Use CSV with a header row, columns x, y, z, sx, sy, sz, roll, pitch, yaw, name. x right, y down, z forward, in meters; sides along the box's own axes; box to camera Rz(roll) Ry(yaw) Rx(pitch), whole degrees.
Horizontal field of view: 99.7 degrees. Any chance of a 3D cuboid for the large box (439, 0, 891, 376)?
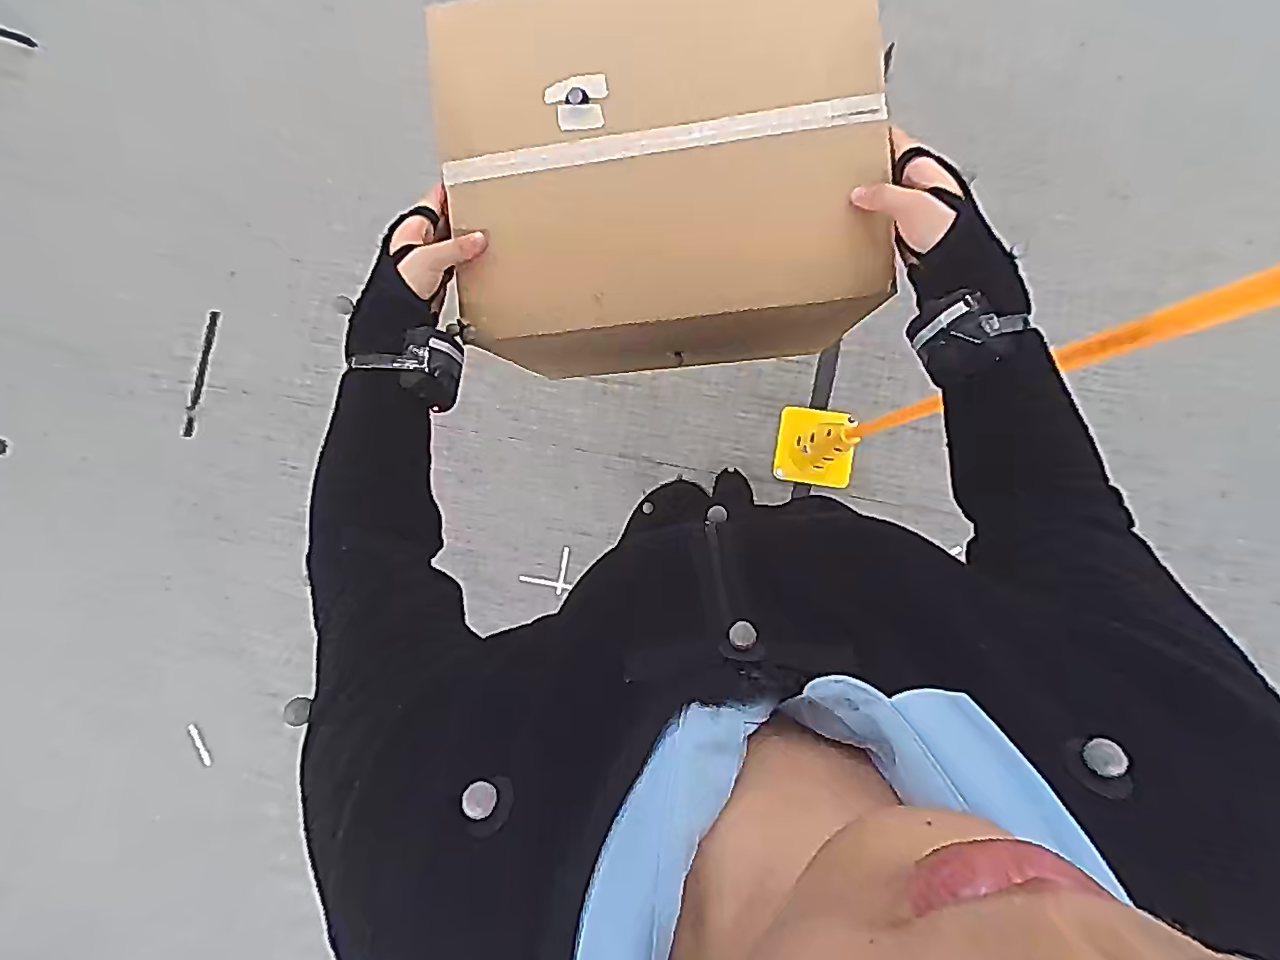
x,y,z,sx,sy,sz,roll,pitch,yaw,name
0.035,-0.318,0.653,0.408,0.320,0.320,-6,92,7,large box
